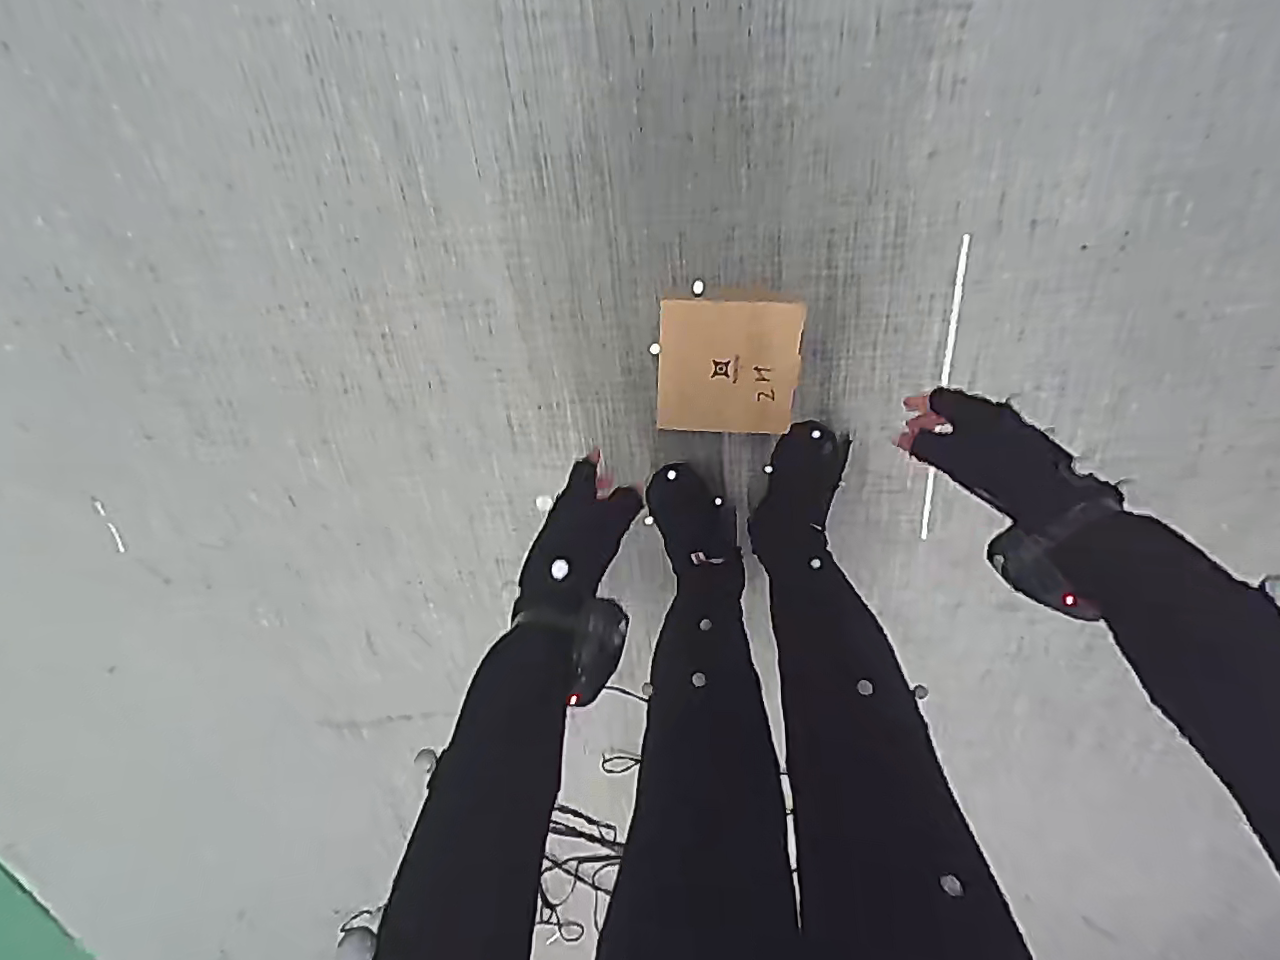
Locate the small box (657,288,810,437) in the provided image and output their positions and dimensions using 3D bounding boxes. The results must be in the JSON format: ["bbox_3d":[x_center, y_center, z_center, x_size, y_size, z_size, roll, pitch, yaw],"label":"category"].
[{"bbox_3d":[0.119,-0.168,0.742,0.179,0.176,0.168,3,115,4],"label":"small box"}]
